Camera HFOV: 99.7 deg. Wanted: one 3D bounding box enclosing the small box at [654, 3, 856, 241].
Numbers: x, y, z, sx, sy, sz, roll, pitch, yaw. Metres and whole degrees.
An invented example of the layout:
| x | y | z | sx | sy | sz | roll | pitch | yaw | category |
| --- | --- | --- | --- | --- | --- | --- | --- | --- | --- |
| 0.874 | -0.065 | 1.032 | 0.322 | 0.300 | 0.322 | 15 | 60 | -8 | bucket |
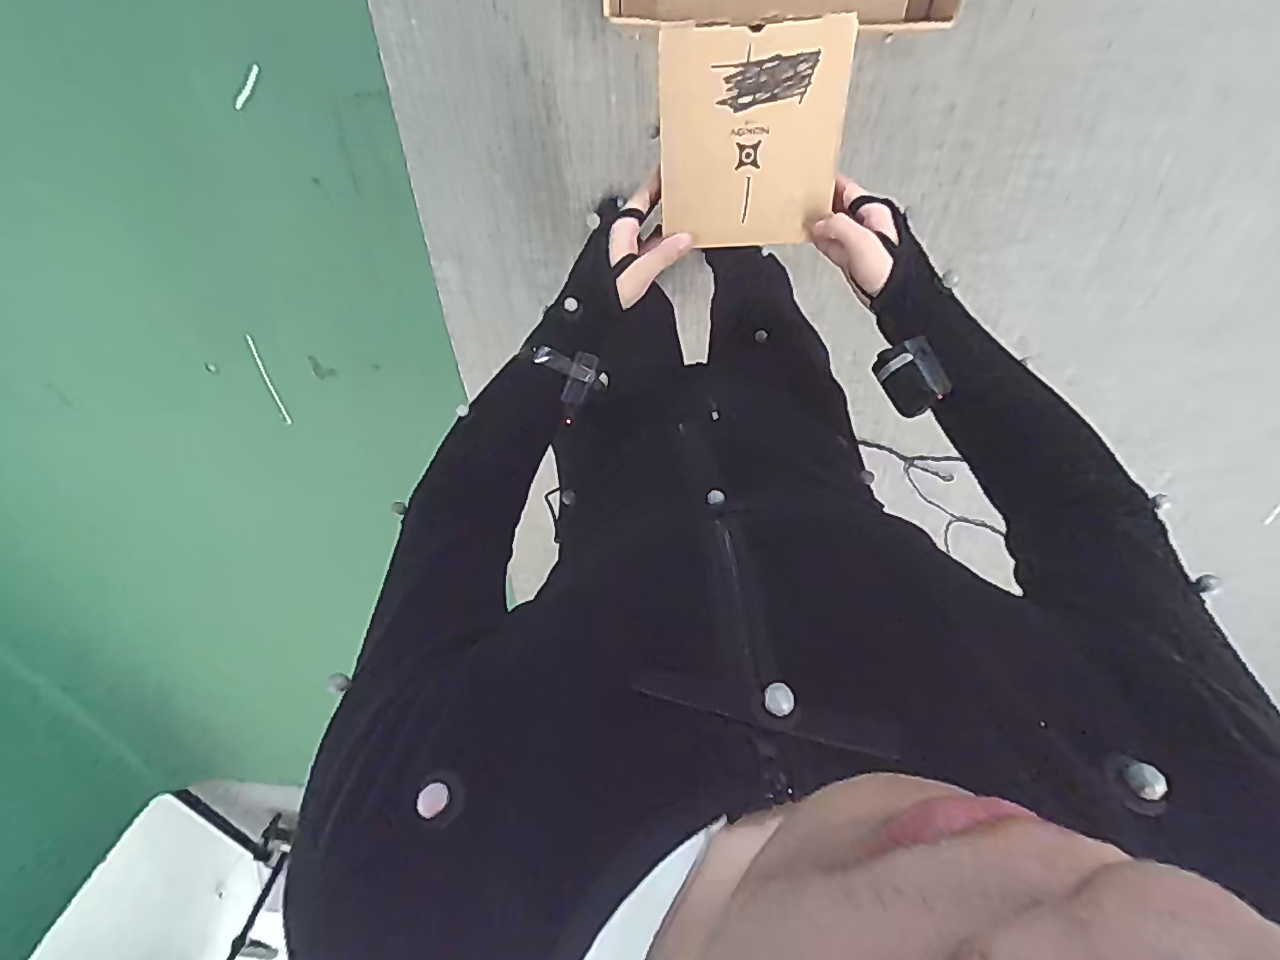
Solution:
| x | y | z | sx | sy | sz | roll | pitch | yaw | category |
| --- | --- | --- | --- | --- | --- | --- | --- | --- | --- |
| 0.098 | -0.354 | 0.550 | 0.168 | 0.176 | 0.179 | -1 | 125 | 3 | small box |
